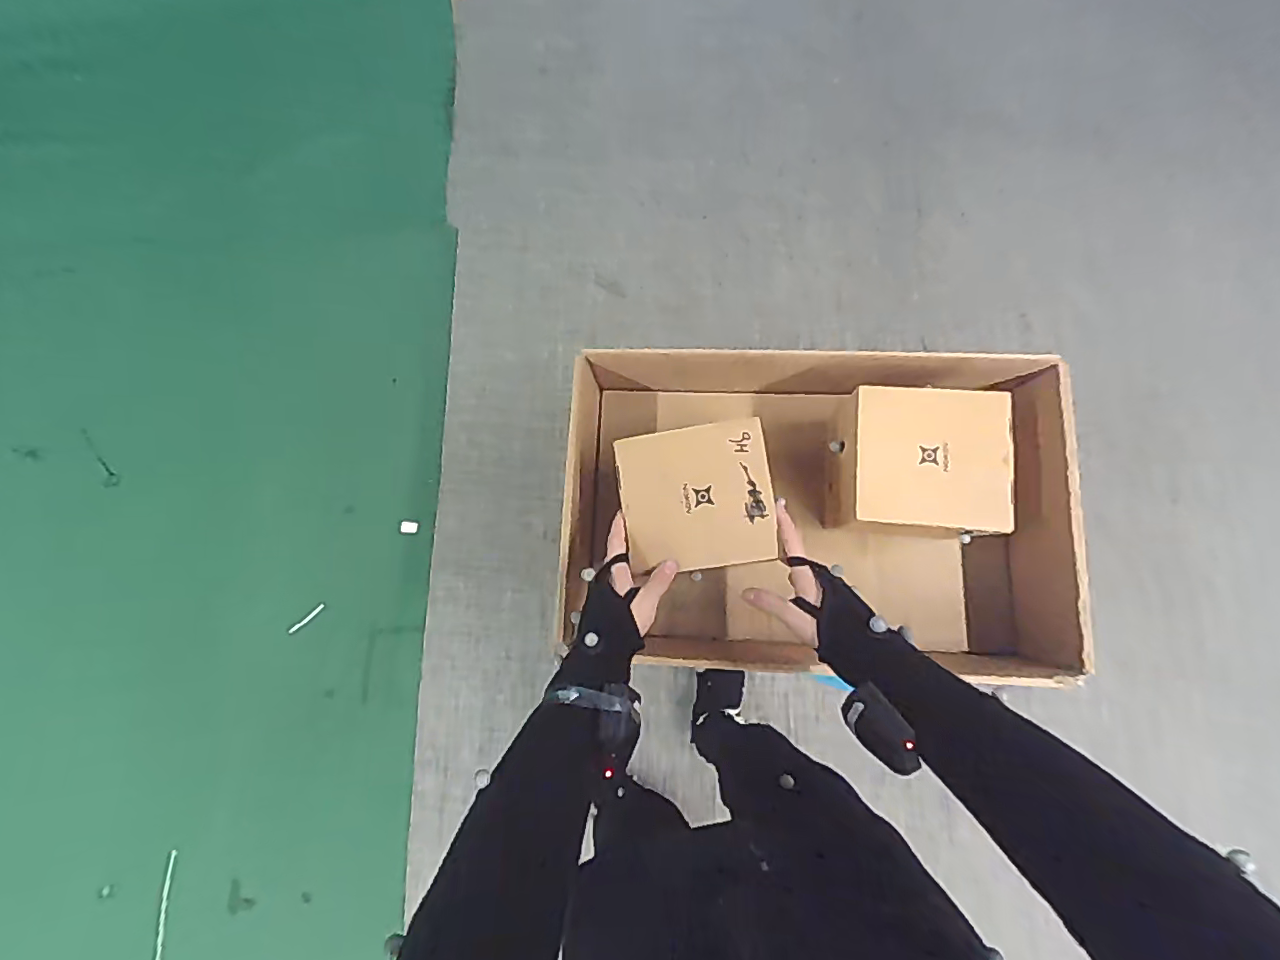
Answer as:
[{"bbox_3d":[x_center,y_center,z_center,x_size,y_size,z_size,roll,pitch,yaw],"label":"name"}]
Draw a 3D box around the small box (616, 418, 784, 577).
[{"bbox_3d":[0.077,0.034,0.692,0.179,0.176,0.168,-9,79,7],"label":"small box"}]
